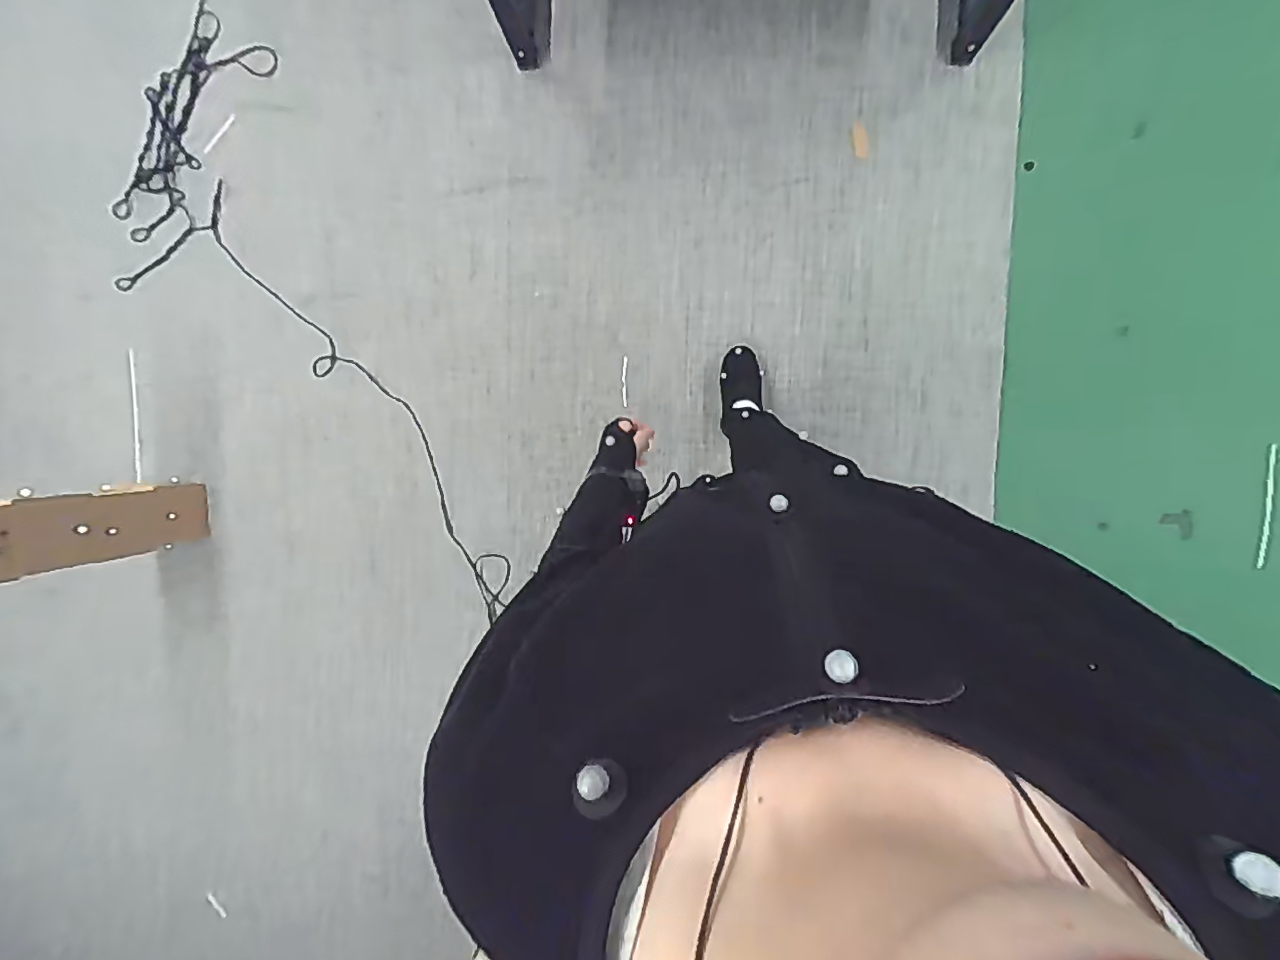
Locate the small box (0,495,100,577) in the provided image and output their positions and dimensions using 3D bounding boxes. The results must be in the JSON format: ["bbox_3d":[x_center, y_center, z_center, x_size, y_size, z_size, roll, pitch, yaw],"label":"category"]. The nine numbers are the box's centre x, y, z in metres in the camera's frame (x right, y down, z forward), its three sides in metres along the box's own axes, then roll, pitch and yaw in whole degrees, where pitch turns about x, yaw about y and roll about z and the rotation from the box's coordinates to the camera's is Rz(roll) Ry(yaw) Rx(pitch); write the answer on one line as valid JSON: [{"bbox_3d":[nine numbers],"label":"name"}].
[{"bbox_3d":[-1.427,0.124,1.265,0.168,0.176,0.179,-1,93,6],"label":"small box"}]

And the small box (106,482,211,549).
[{"bbox_3d":[-1.408,0.100,1.591,0.168,0.176,0.179,0,93,6],"label":"small box"}]

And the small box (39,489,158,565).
[{"bbox_3d":[-1.426,0.119,1.429,0.168,0.176,0.179,1,93,5],"label":"small box"}]

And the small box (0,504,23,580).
[{"bbox_3d":[-1.440,0.139,1.103,0.179,0.176,0.168,-1,94,5],"label":"small box"}]
